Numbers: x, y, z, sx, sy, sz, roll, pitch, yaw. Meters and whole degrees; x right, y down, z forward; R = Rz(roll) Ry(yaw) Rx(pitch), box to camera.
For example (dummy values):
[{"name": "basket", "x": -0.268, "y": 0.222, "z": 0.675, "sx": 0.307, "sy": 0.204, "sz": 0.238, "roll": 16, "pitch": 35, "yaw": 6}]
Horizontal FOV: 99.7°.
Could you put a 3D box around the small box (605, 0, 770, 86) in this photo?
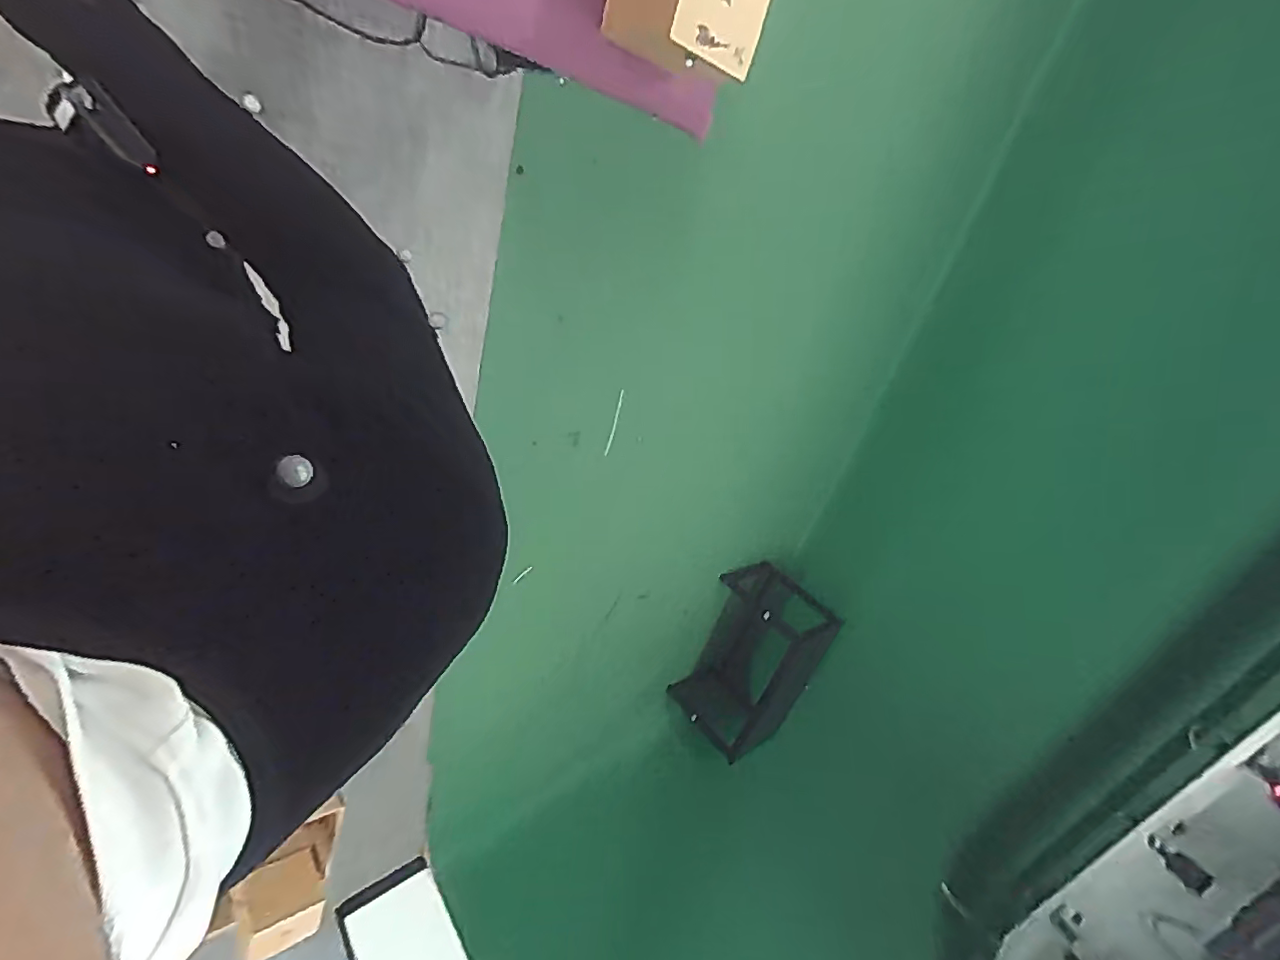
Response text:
[{"name": "small box", "x": 0.070, "y": -0.704, "z": 0.778, "sx": 0.168, "sy": 0.176, "sz": 0.179, "roll": -7, "pitch": 126, "yaw": -40}]

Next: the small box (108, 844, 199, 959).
[{"name": "small box", "x": -1.328, "y": 1.138, "z": 1.473, "sx": 0.168, "sy": 0.176, "sz": 0.179, "roll": 5, "pitch": 117, "yaw": -47}]

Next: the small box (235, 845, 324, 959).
[{"name": "small box", "x": -1.037, "y": 1.202, "z": 1.552, "sx": 0.179, "sy": 0.176, "sz": 0.168, "roll": 1, "pitch": 121, "yaw": -45}]
